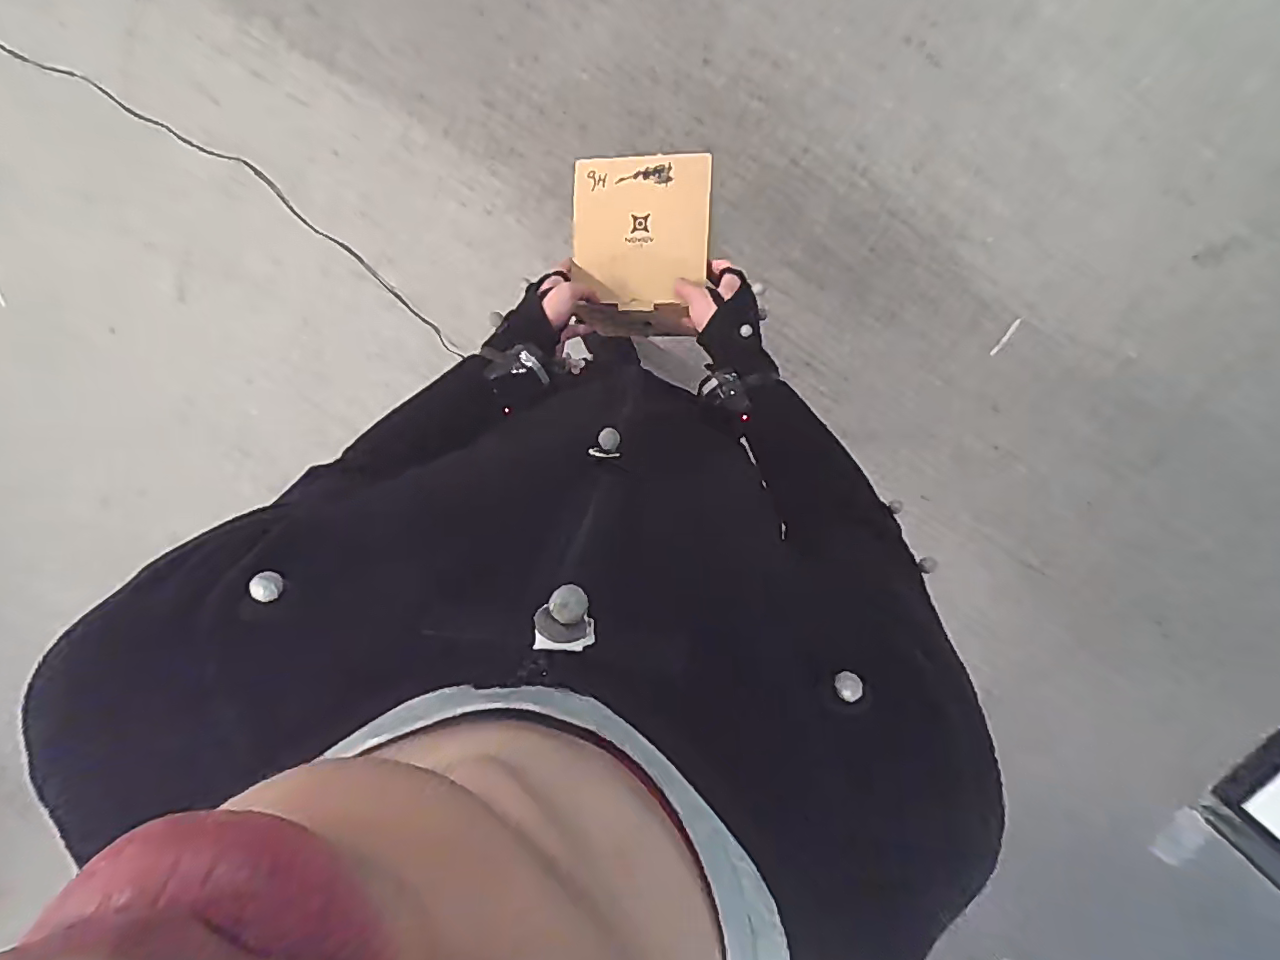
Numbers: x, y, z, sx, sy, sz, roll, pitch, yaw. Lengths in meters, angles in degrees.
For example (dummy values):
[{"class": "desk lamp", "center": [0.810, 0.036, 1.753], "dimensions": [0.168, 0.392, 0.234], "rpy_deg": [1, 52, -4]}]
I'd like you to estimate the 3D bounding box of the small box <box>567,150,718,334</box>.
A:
[{"class": "small box", "center": [0.011, -0.291, 0.700], "dimensions": [0.168, 0.176, 0.179], "rpy_deg": [3, 94, 10]}]
